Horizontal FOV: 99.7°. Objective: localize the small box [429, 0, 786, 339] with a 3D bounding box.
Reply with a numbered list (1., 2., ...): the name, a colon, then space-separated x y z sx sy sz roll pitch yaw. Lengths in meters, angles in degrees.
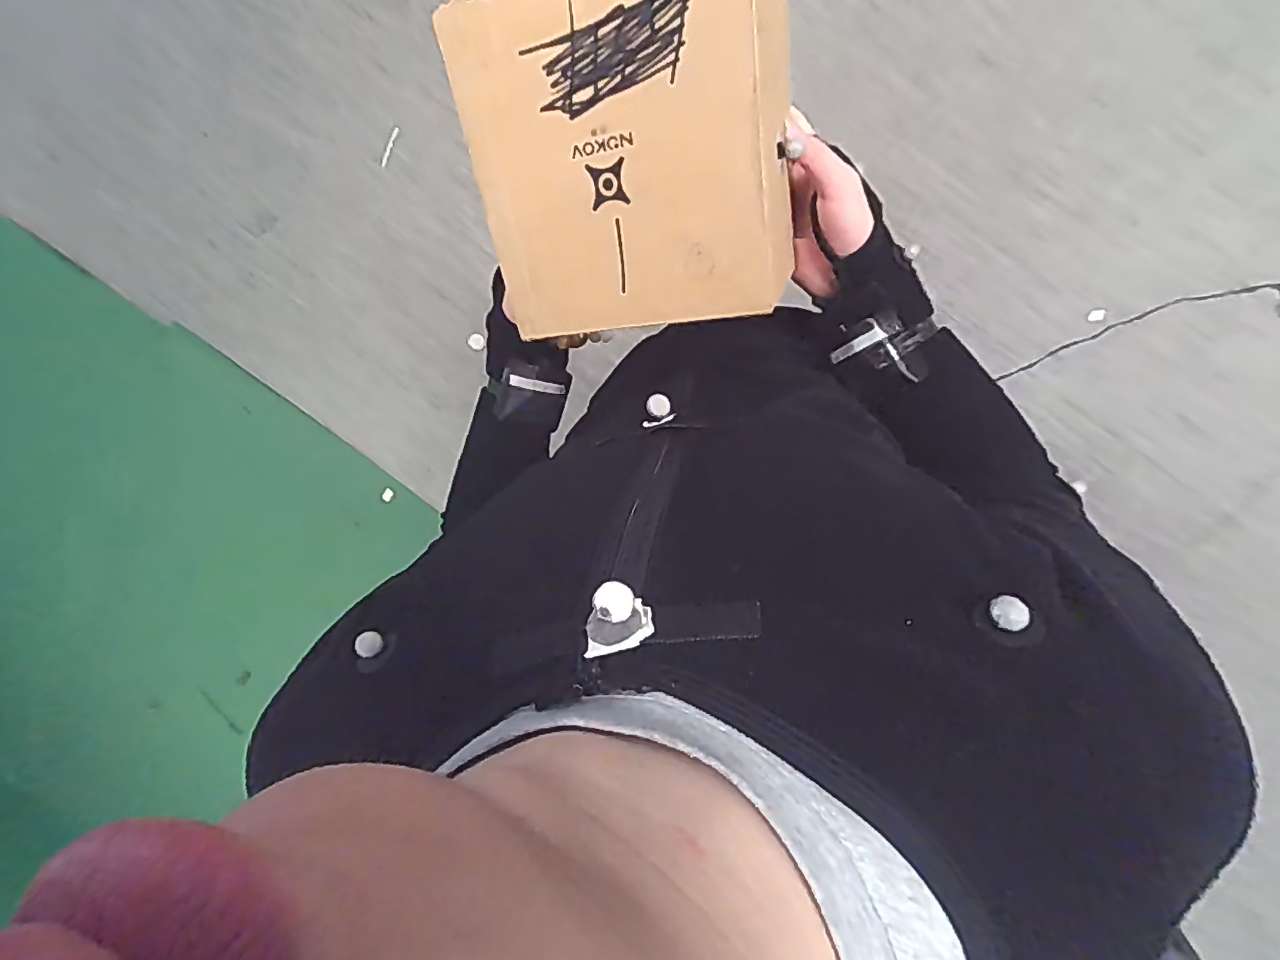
1. small box: 0.003 -0.205 0.357 0.168 0.176 0.179 1 119 21
